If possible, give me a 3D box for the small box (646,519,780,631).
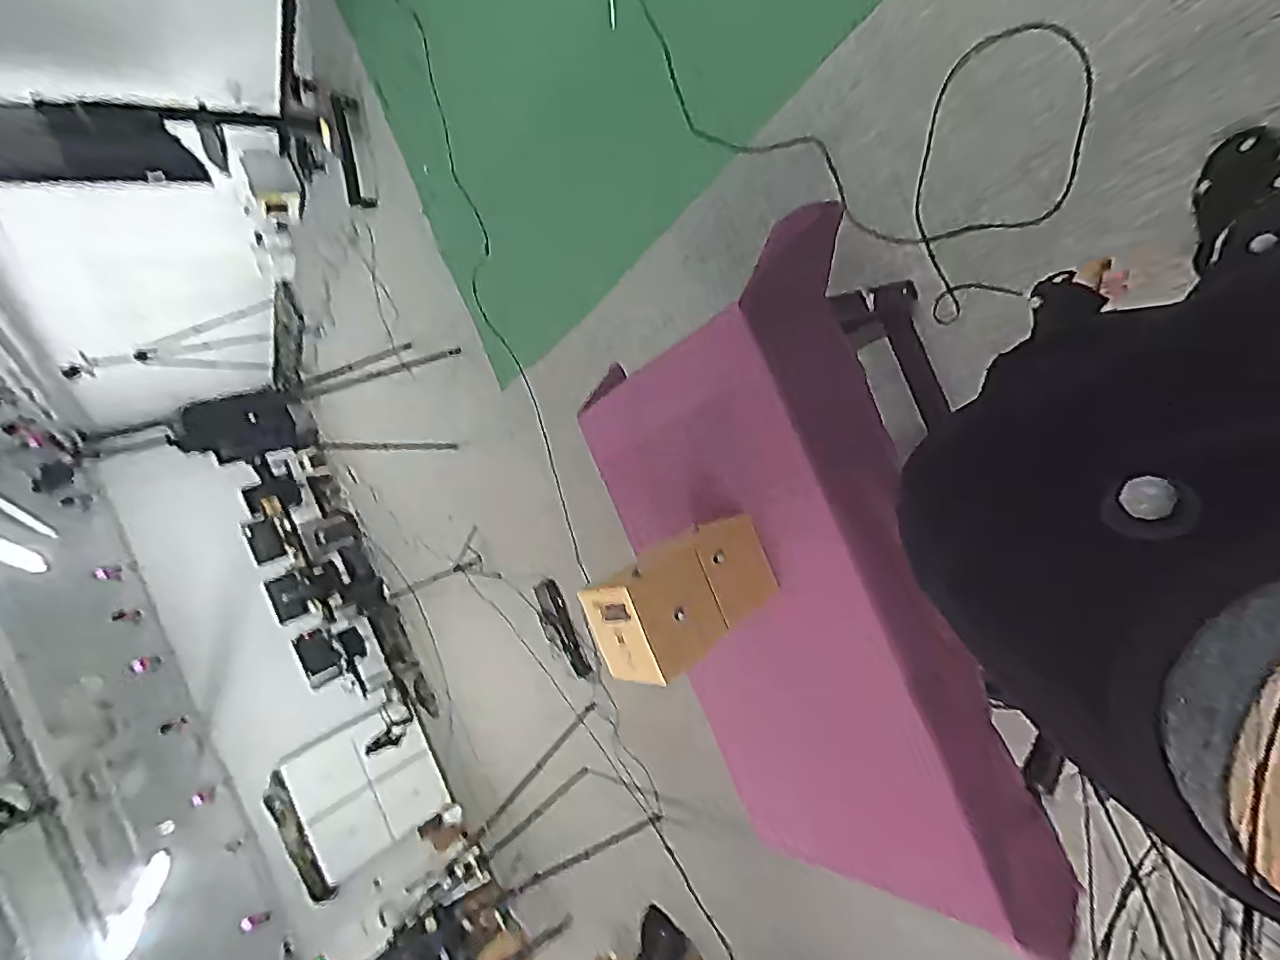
[{"bbox_3d":[0.148,0.187,1.092,0.168,0.176,0.179,-21,91,53],"label":"small box"}]
